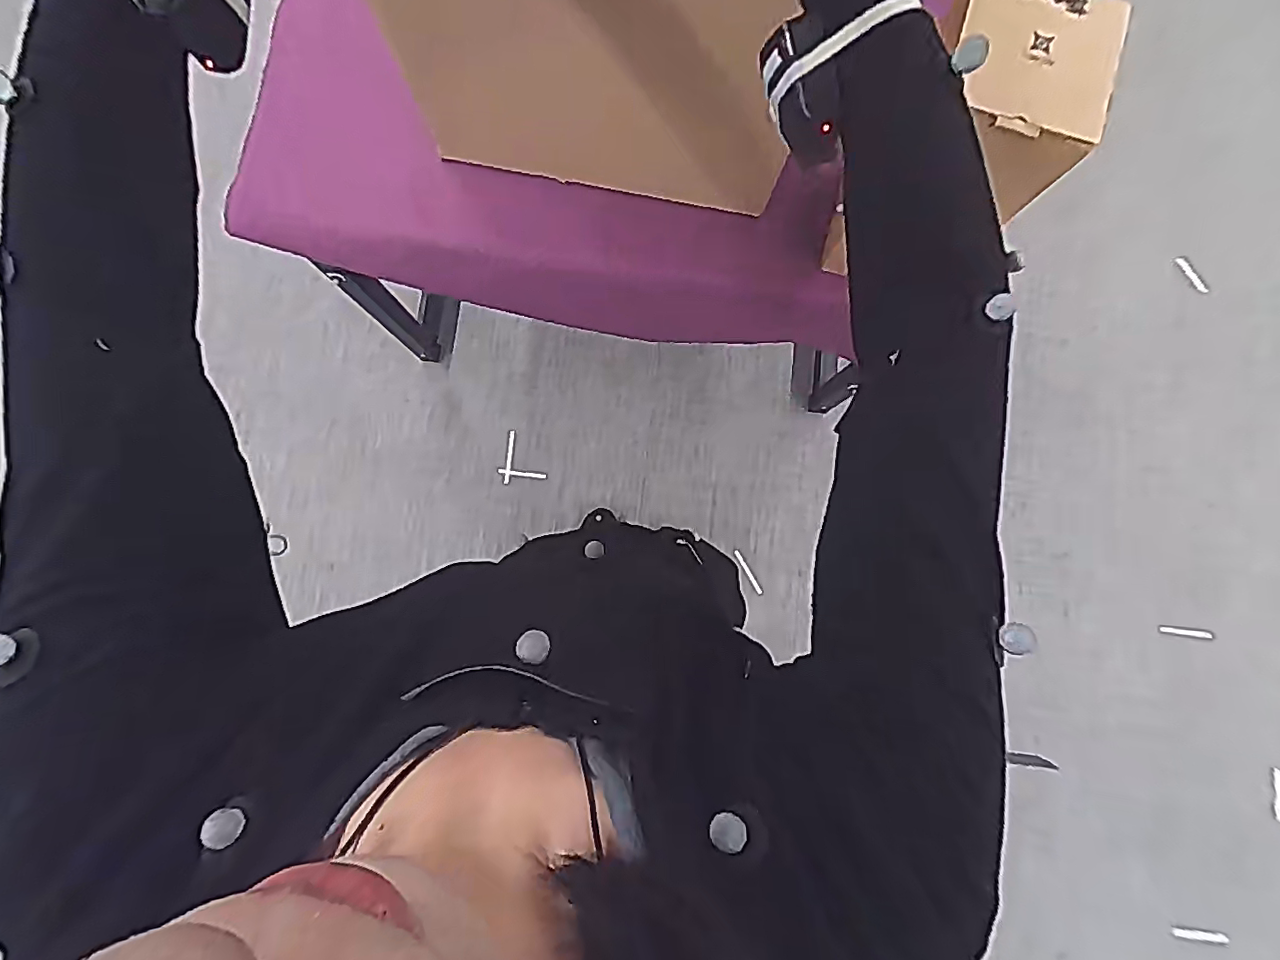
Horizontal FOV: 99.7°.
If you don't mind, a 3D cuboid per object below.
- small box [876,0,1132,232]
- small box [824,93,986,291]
[{"bbox_3d":[0.404,-0.428,0.632,0.168,0.176,0.179,19,83,0],"label":"small box"},{"bbox_3d":[0.389,-0.407,0.794,0.168,0.176,0.179,15,82,-1],"label":"small box"}]
